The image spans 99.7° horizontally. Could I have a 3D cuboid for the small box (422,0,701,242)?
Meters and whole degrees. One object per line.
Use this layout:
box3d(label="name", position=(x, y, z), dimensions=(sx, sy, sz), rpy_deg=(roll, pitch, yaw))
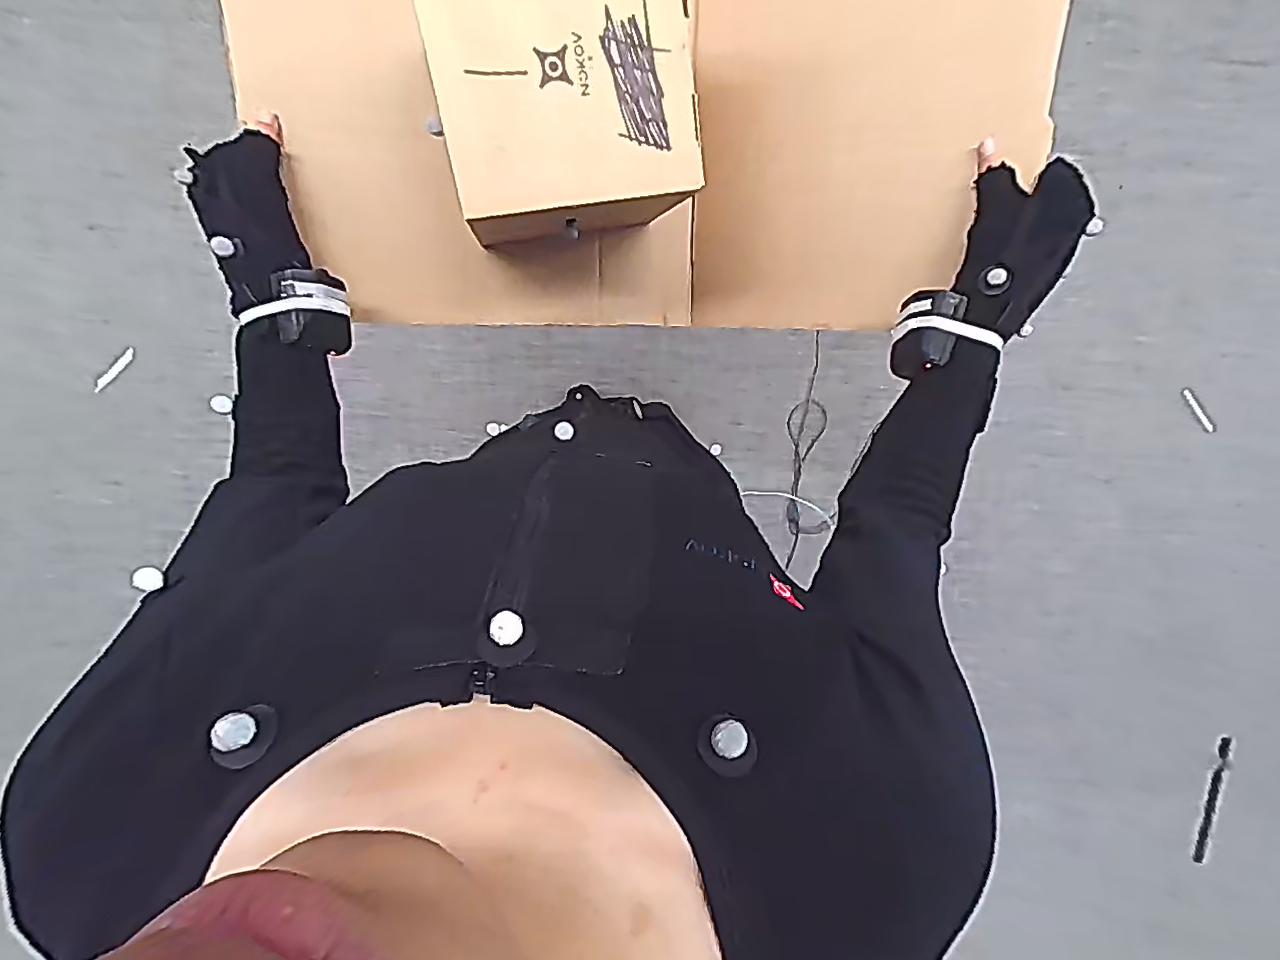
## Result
box3d(label="small box", position=(-0.064, -0.299, 0.442), dimensions=(0.179, 0.176, 0.168), rpy_deg=(-12, 109, -9))
